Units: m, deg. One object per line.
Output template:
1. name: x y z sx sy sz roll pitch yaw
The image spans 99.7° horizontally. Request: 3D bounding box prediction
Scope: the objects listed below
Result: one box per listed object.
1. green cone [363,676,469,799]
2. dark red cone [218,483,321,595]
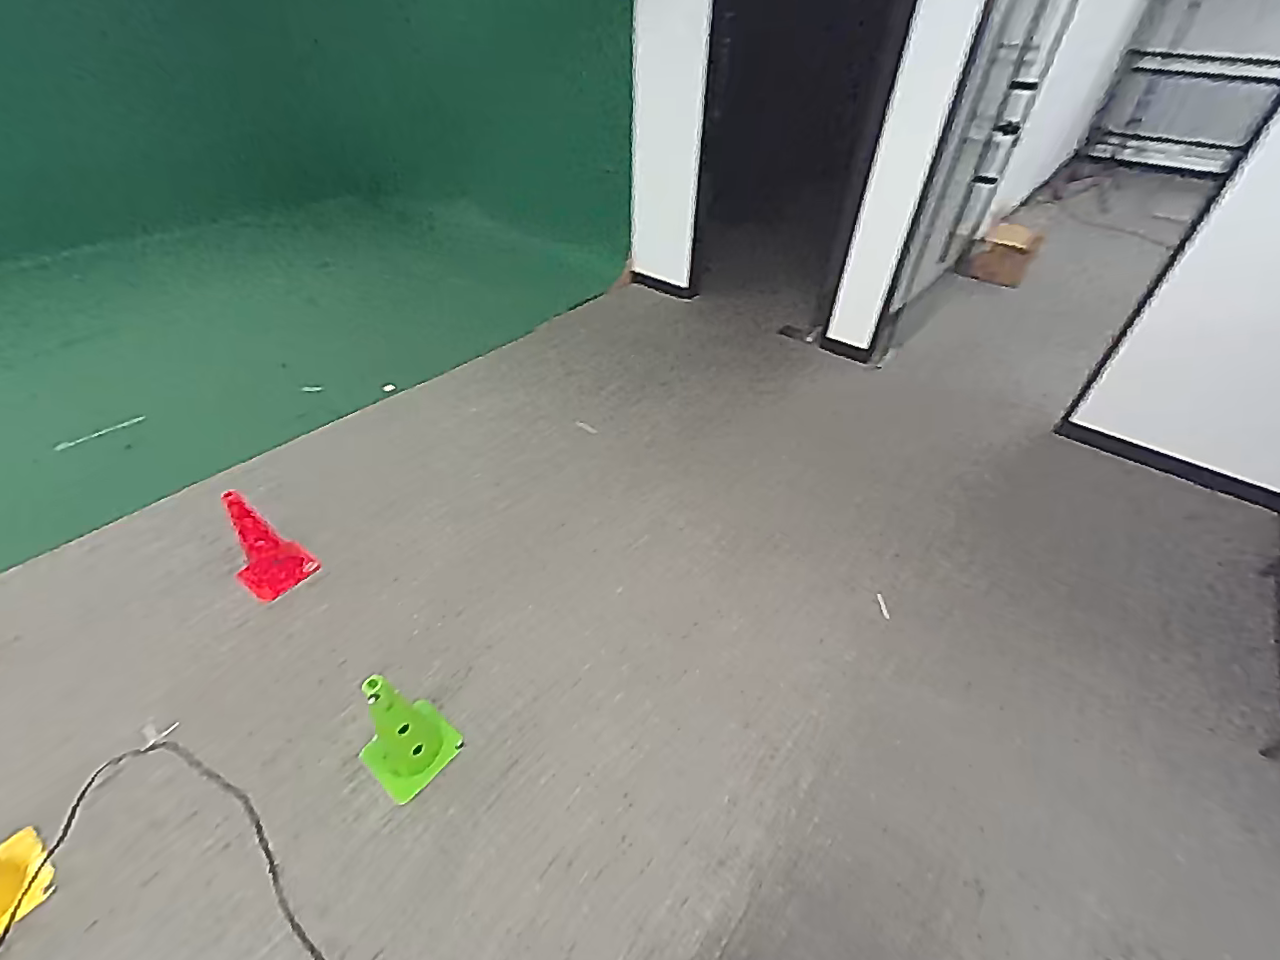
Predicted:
1. green cone: -0.584 0.574 1.309 0.200 0.368 0.202 28 50 27
2. dark red cone: -1.208 0.164 1.709 0.201 0.394 0.202 25 47 25
